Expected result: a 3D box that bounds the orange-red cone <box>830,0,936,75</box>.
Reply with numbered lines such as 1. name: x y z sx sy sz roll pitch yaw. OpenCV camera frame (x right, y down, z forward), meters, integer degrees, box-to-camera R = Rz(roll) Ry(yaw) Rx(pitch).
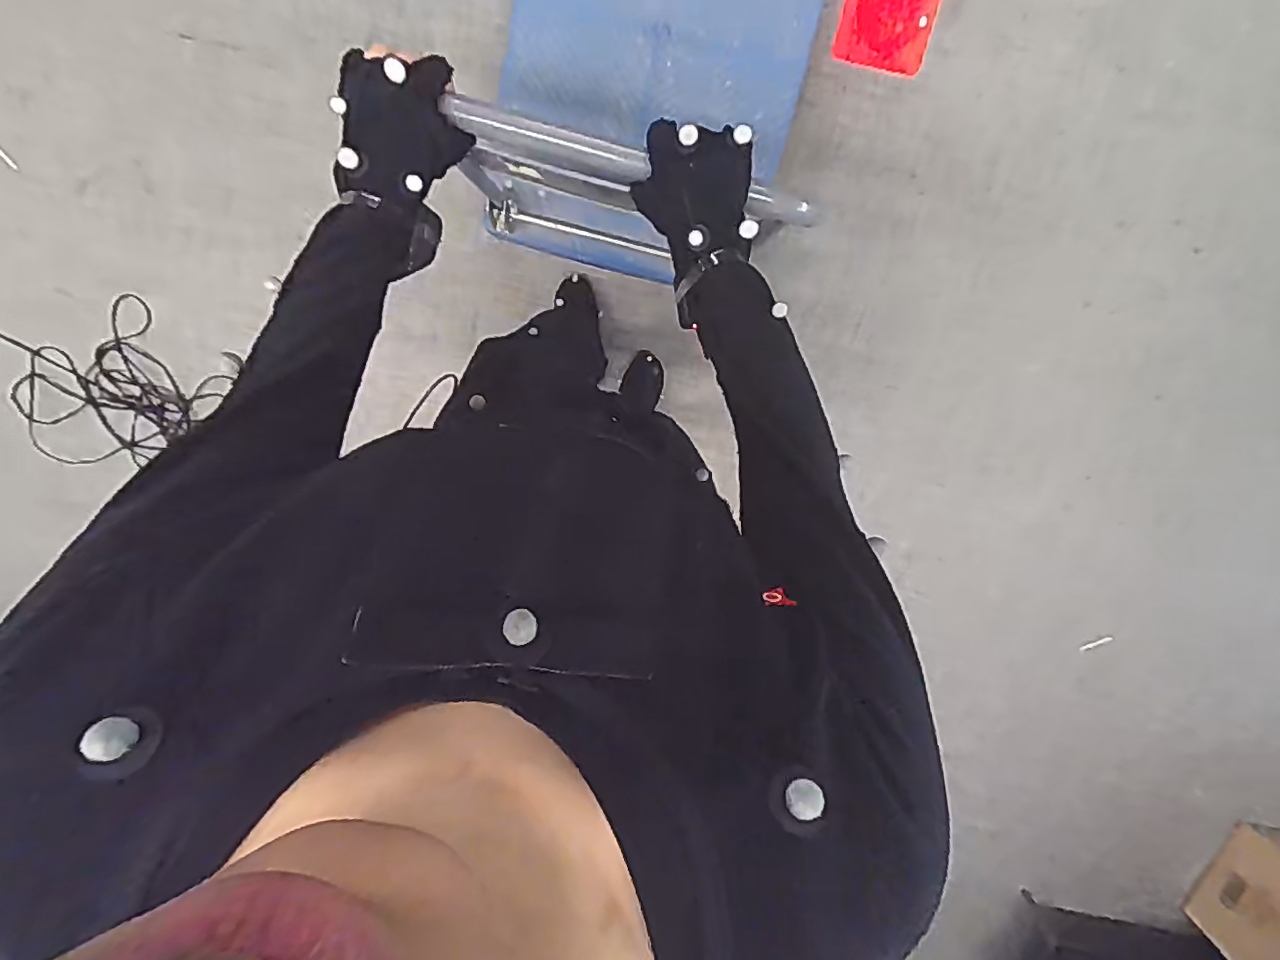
1. orange-red cone: 0.523 -0.962 1.014 0.199 0.360 0.198 13 106 -1
